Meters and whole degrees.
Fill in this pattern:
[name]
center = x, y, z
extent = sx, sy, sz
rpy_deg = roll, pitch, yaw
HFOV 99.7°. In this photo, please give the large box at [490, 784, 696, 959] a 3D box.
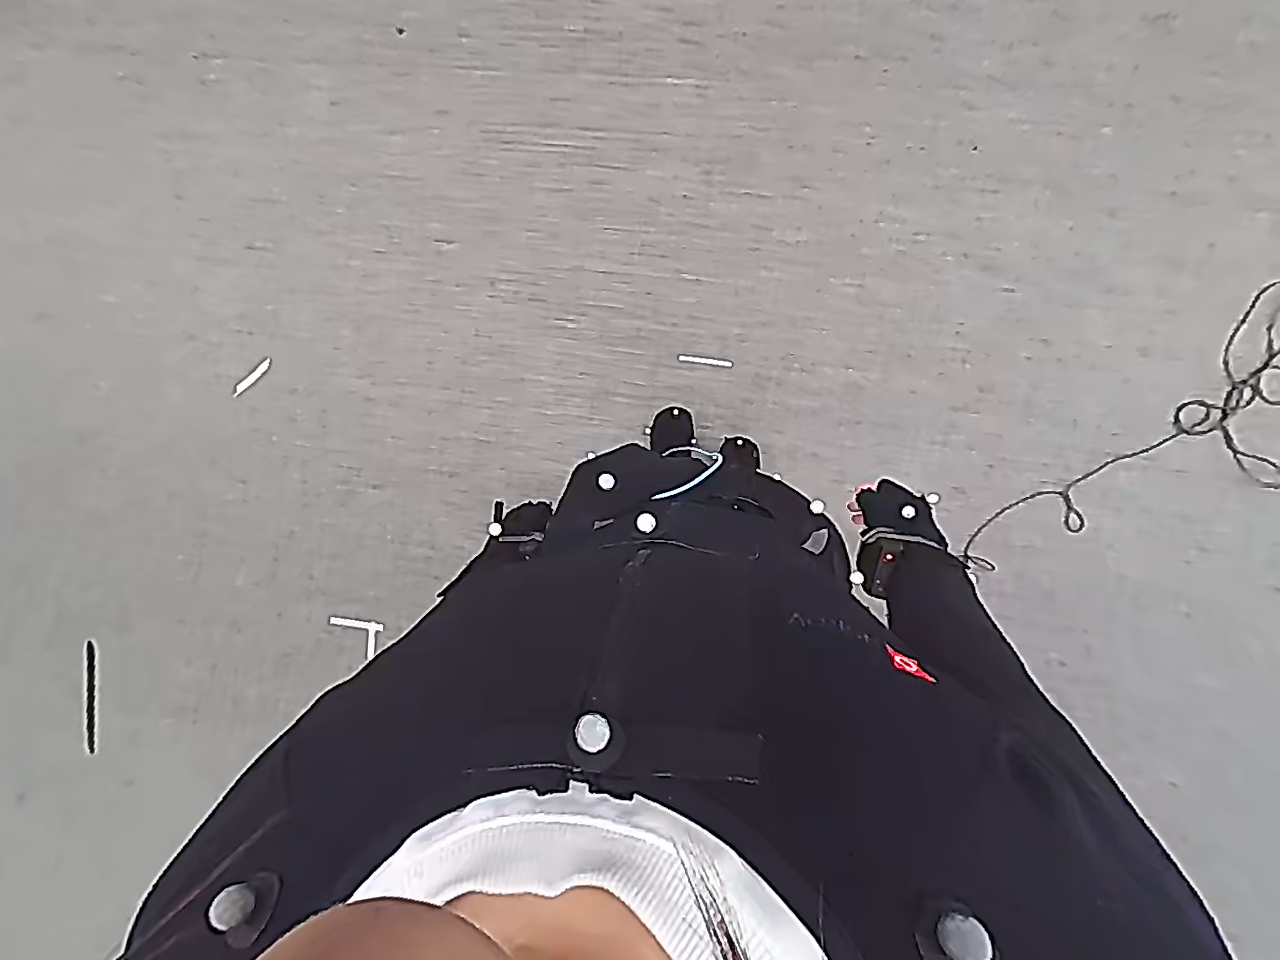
[large box]
center = -0.103, 1.112, 1.427
extent = 0.408, 0.320, 0.320
rpy_deg = 29, 97, 6
